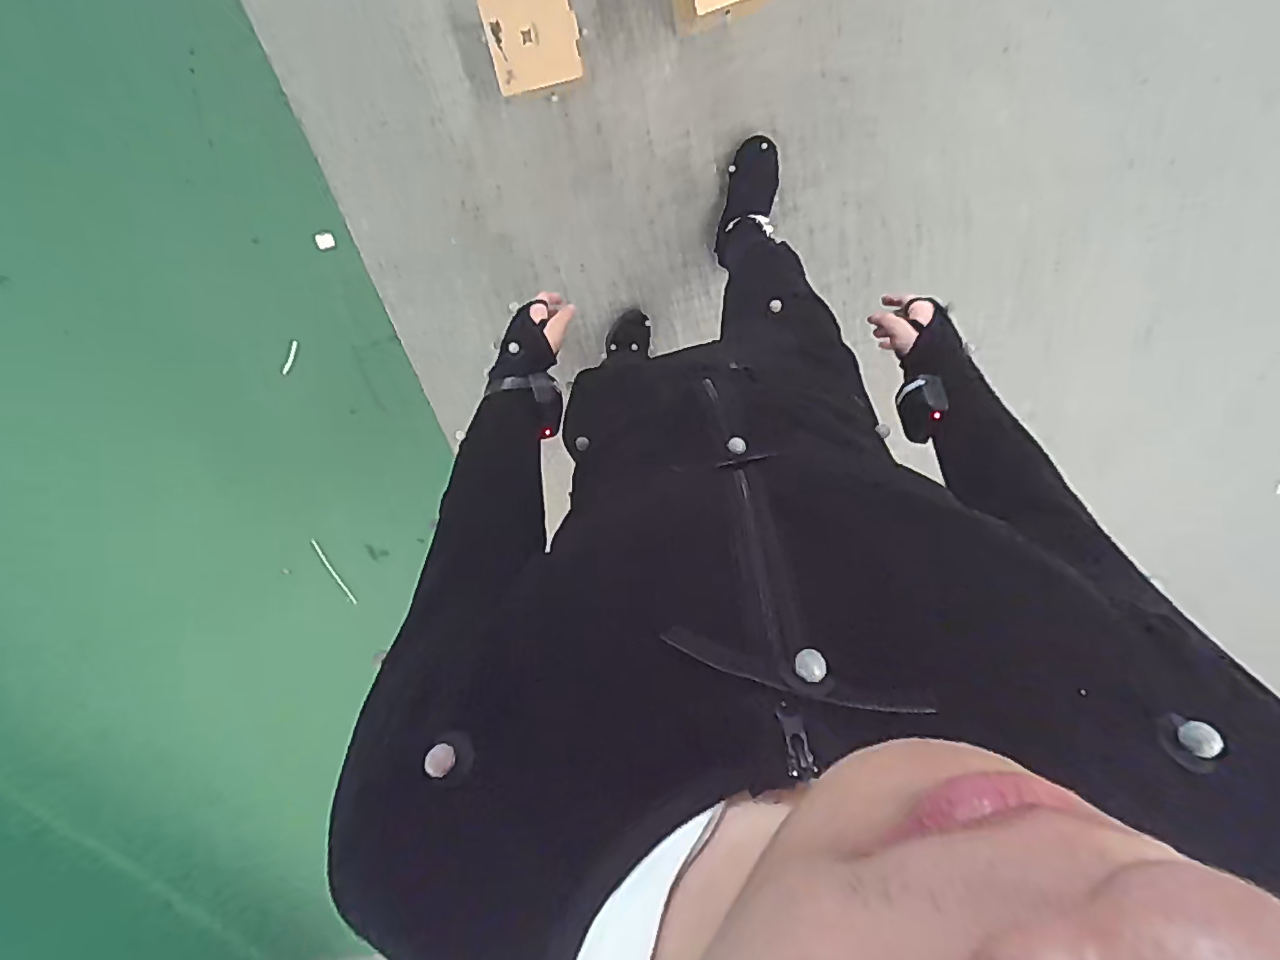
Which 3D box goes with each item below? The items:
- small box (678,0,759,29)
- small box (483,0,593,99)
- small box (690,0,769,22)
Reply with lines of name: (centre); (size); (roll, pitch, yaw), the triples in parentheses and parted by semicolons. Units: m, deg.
small box: (0.153, -1.004, 1.040); (0.179, 0.176, 0.168); (-10, 121, 8)
small box: (-0.199, -0.906, 1.115); (0.179, 0.176, 0.168); (-9, 120, 7)
small box: (0.157, -0.908, 0.908); (0.168, 0.176, 0.179); (-13, 120, 10)
